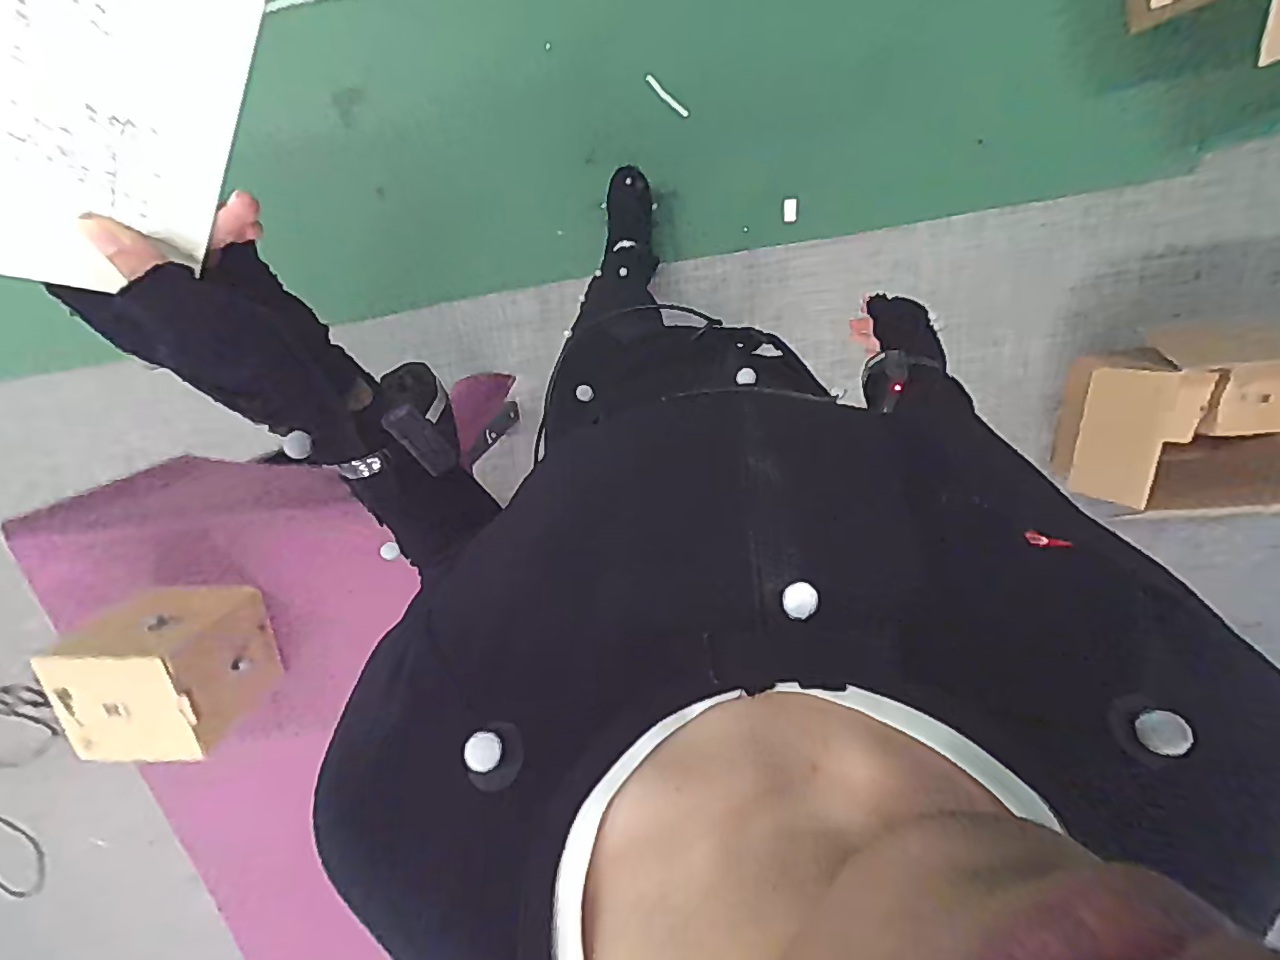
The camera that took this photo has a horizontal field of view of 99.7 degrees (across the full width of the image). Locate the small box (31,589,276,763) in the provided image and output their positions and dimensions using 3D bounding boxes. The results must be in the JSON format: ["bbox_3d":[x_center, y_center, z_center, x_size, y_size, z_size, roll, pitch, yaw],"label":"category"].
[{"bbox_3d":[-0.646,0.263,0.752,0.179,0.176,0.168,-1,109,1],"label":"small box"}]
